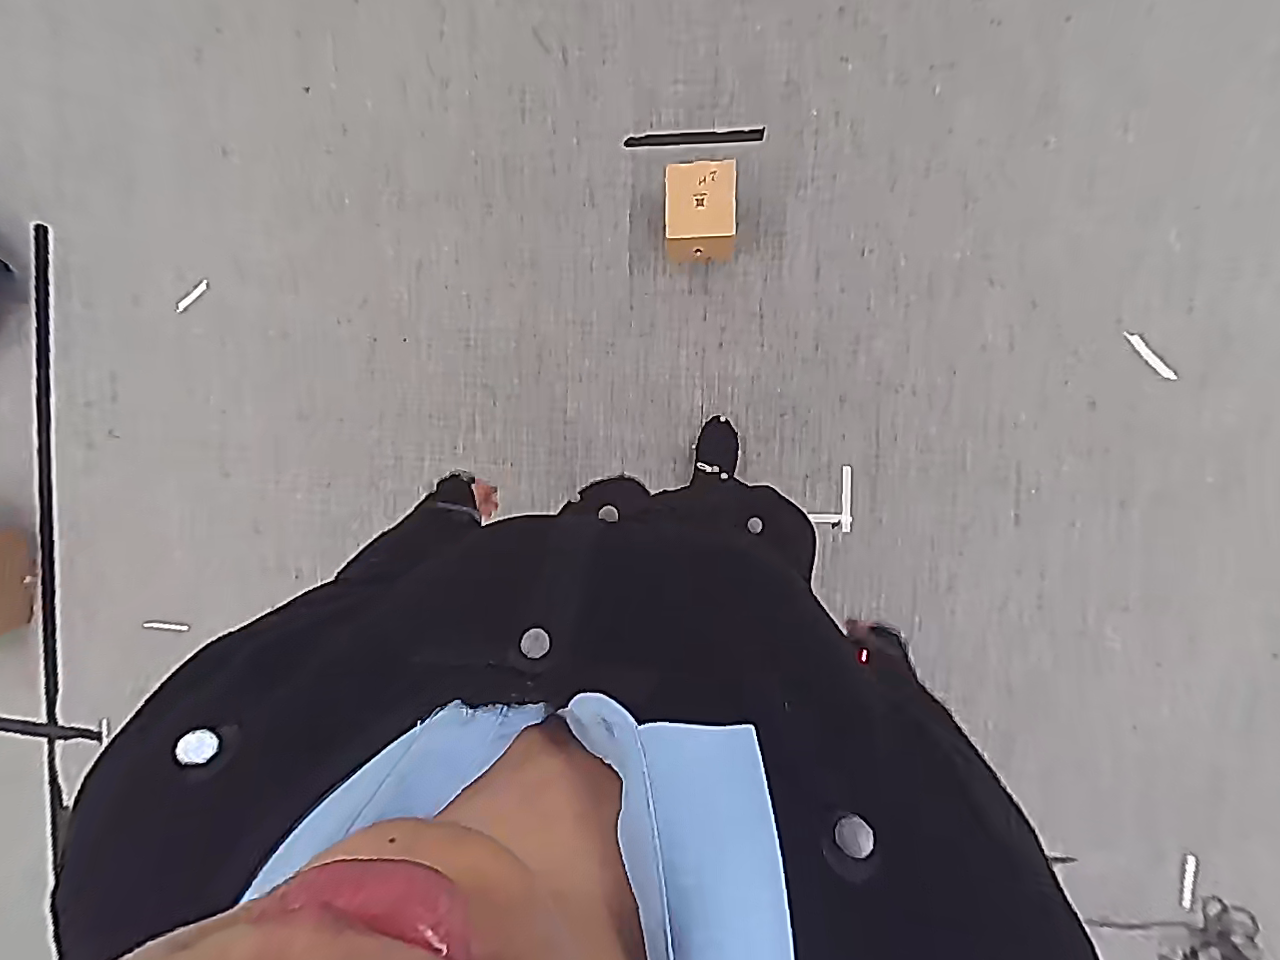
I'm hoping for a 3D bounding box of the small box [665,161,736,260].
[{"bbox_3d":[0.151,-0.657,1.344,0.168,0.176,0.179,1,92,6],"label":"small box"}]
